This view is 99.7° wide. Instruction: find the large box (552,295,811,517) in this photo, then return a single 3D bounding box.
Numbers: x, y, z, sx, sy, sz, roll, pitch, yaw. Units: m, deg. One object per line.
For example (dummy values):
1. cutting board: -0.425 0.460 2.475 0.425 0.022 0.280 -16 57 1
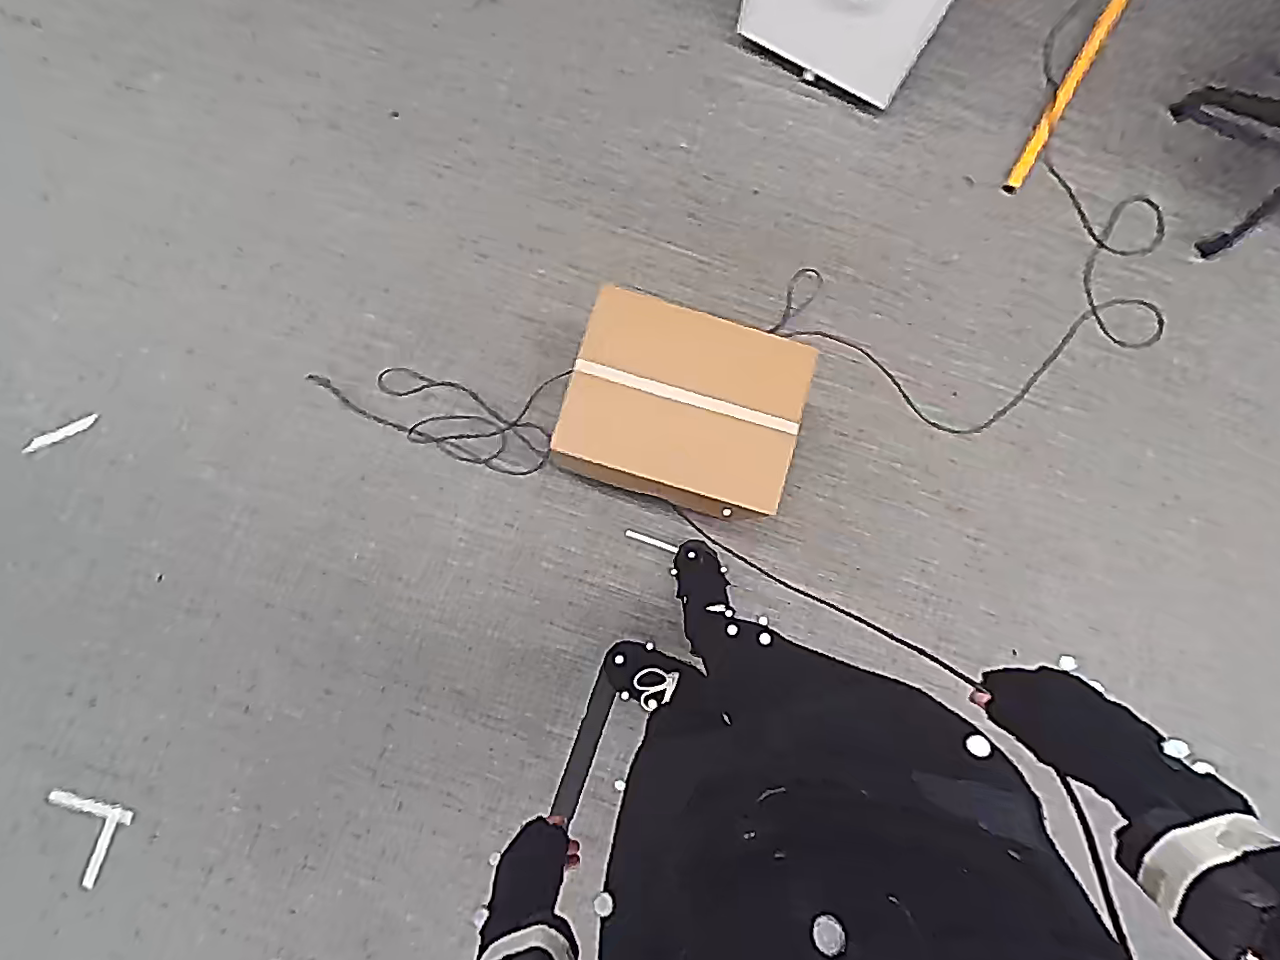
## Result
1. large box: 0.074 -0.120 1.094 0.408 0.320 0.320 16 83 0
